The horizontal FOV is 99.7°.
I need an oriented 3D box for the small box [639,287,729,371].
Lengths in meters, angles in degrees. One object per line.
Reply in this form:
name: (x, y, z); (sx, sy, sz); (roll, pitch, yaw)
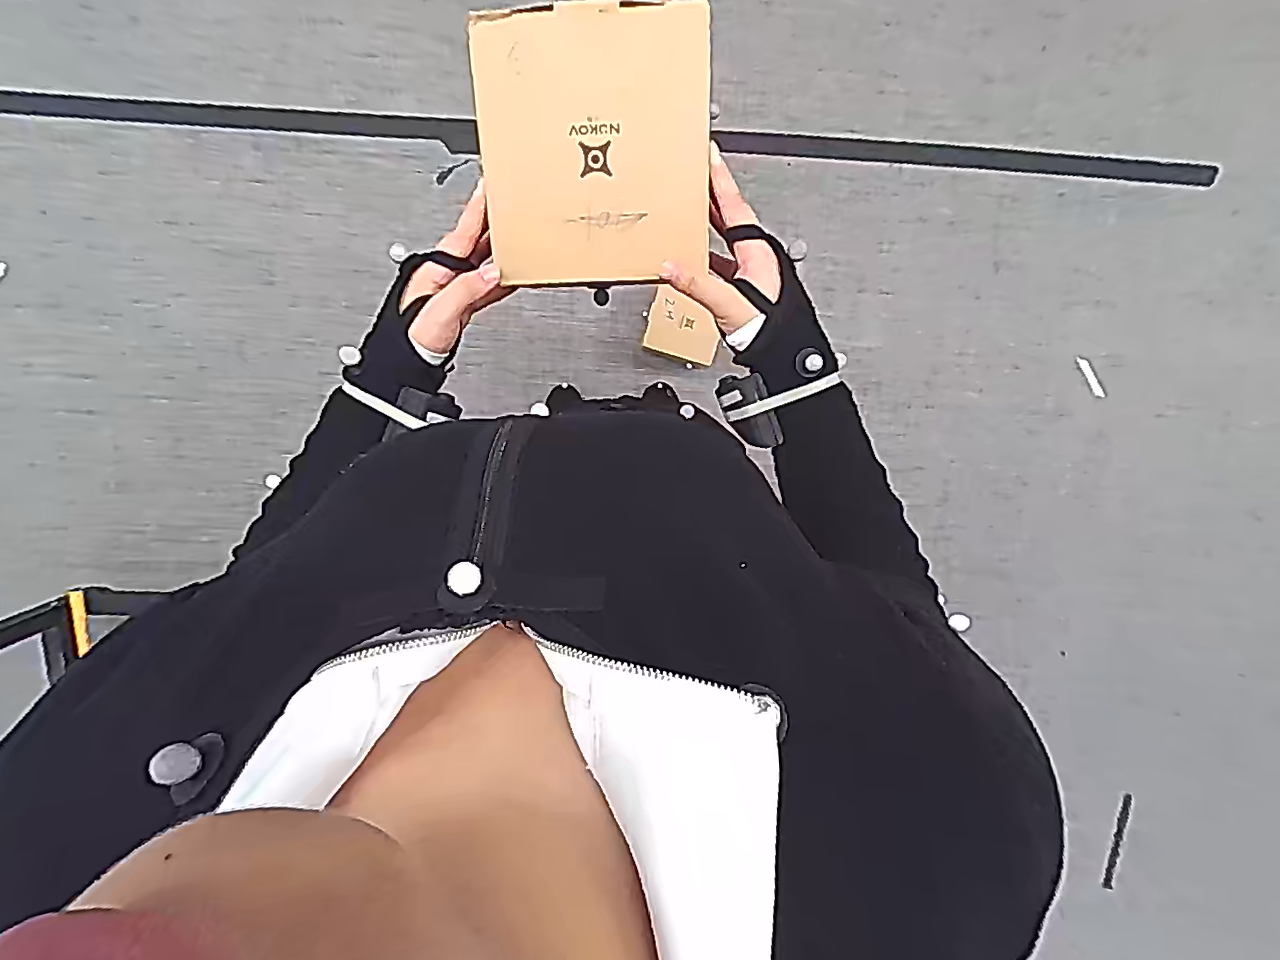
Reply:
small box: (0.104, -0.379, 1.358); (0.179, 0.176, 0.168); (16, 100, -5)

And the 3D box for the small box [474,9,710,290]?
small box: (-0.032, -0.261, 0.470); (0.168, 0.176, 0.179); (-1, 109, 2)
